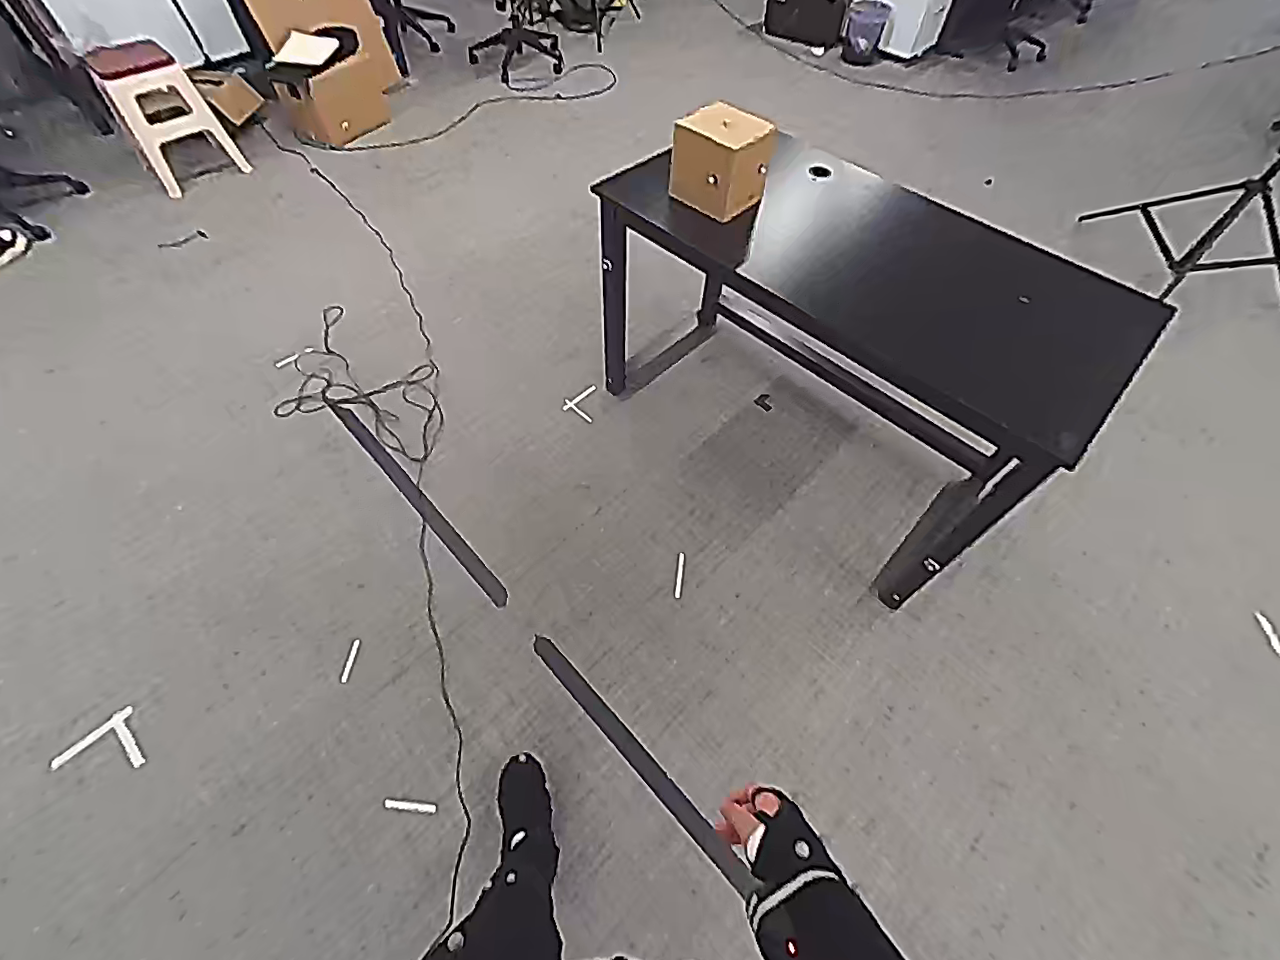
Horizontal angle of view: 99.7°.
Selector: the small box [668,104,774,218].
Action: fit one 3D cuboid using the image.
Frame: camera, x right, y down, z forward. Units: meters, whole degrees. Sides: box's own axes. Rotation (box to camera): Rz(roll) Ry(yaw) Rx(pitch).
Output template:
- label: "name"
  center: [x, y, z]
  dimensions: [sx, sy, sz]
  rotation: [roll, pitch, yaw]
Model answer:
- label: "small box"
  center: [0.186, -0.750, 1.282]
  dimensions: [0.179, 0.176, 0.168]
  rotation: [37, 62, 21]
